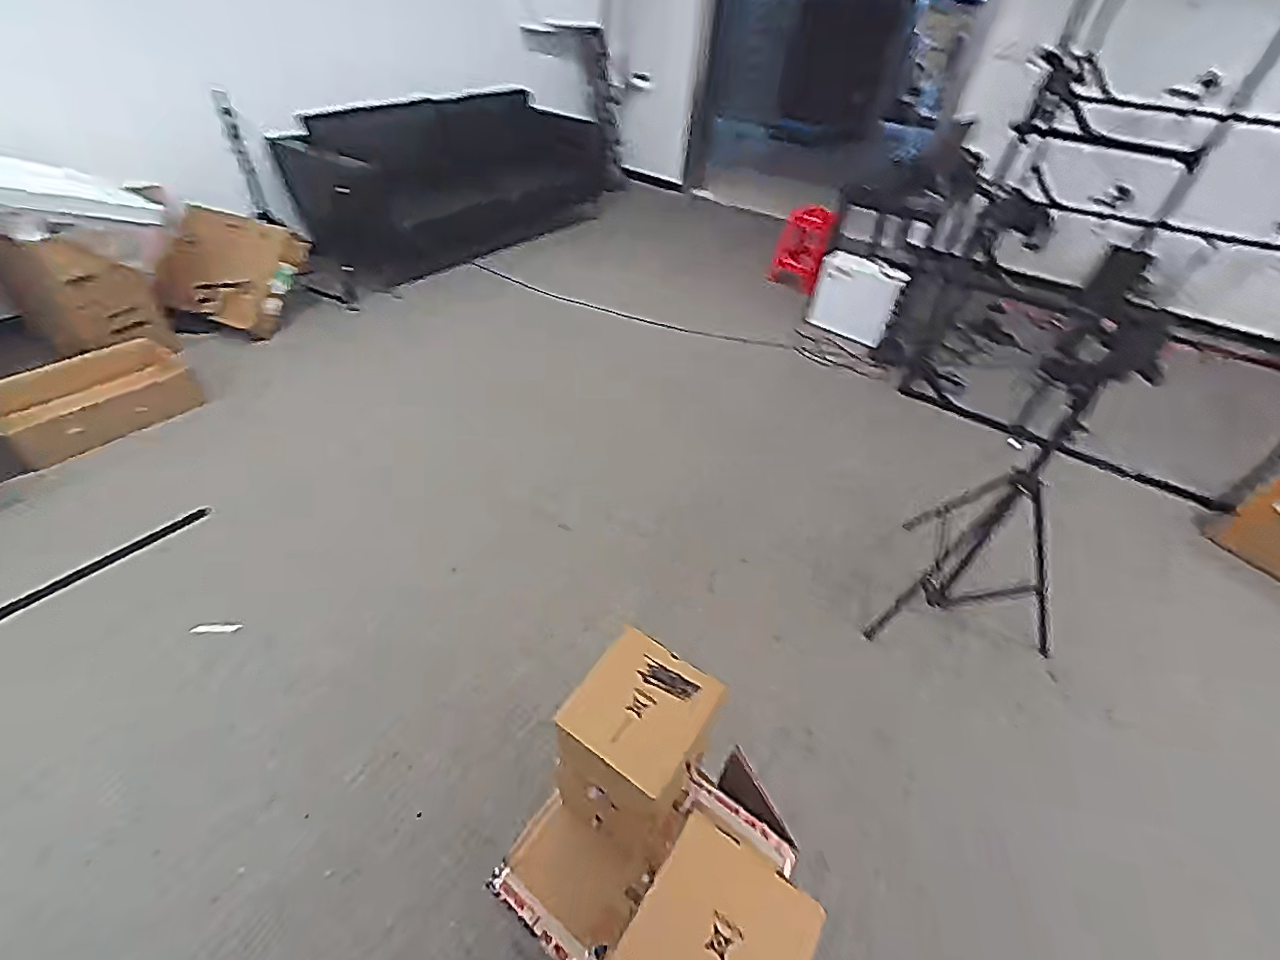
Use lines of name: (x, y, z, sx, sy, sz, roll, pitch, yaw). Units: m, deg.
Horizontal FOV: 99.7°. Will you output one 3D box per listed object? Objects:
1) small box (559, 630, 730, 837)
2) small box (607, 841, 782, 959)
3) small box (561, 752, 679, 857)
small box: (0.005, 0.358, 0.768, 0.168, 0.176, 0.179, 27, 49, 25)
small box: (0.063, 0.636, 0.719, 0.168, 0.176, 0.179, 28, 49, 22)
small box: (-0.012, 0.469, 0.889, 0.168, 0.176, 0.179, 24, 48, 22)
